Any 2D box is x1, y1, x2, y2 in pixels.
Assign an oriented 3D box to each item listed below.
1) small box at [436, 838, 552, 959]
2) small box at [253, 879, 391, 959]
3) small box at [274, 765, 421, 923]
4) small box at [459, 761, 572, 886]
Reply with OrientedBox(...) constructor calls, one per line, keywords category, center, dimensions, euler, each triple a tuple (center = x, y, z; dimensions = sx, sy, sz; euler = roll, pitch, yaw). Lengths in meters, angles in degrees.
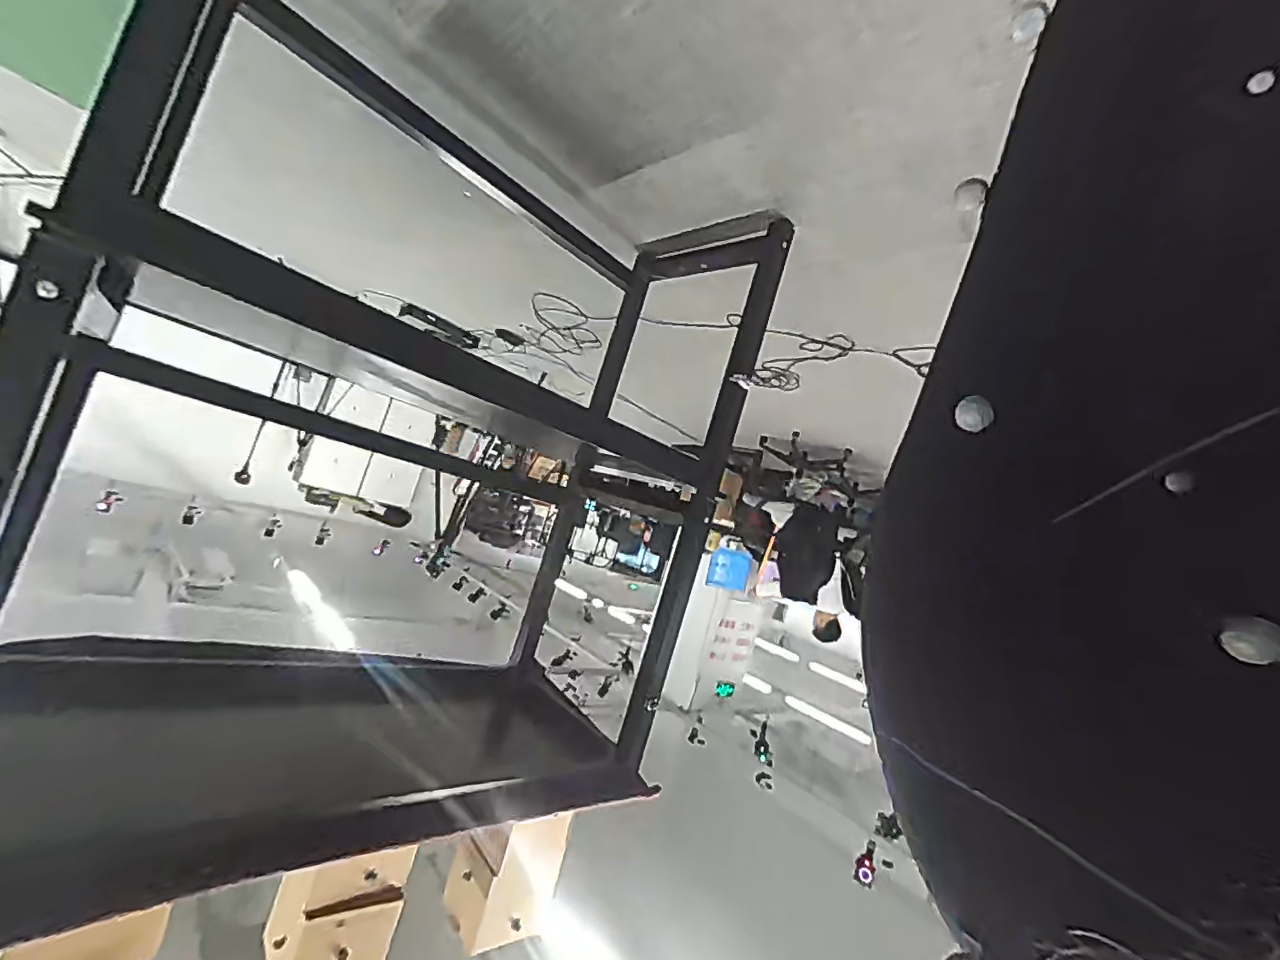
OrientedBox(category="small box", center=(-0.322, 0.913, 1.205), dimensions=(0.179, 0.176, 0.168), euler=(21, 174, -38))
OrientedBox(category="small box", center=(-0.577, 0.813, 0.986), dimensions=(0.168, 0.176, 0.179), euler=(22, 174, -39))
OrientedBox(category="small box", center=(-0.536, 0.654, 1.002), dimensions=(0.168, 0.176, 0.179), euler=(14, 174, 46))
OrientedBox(category="small box", center=(-0.275, 0.755, 1.213), dimensions=(0.168, 0.176, 0.179), euler=(20, 173, -39))
